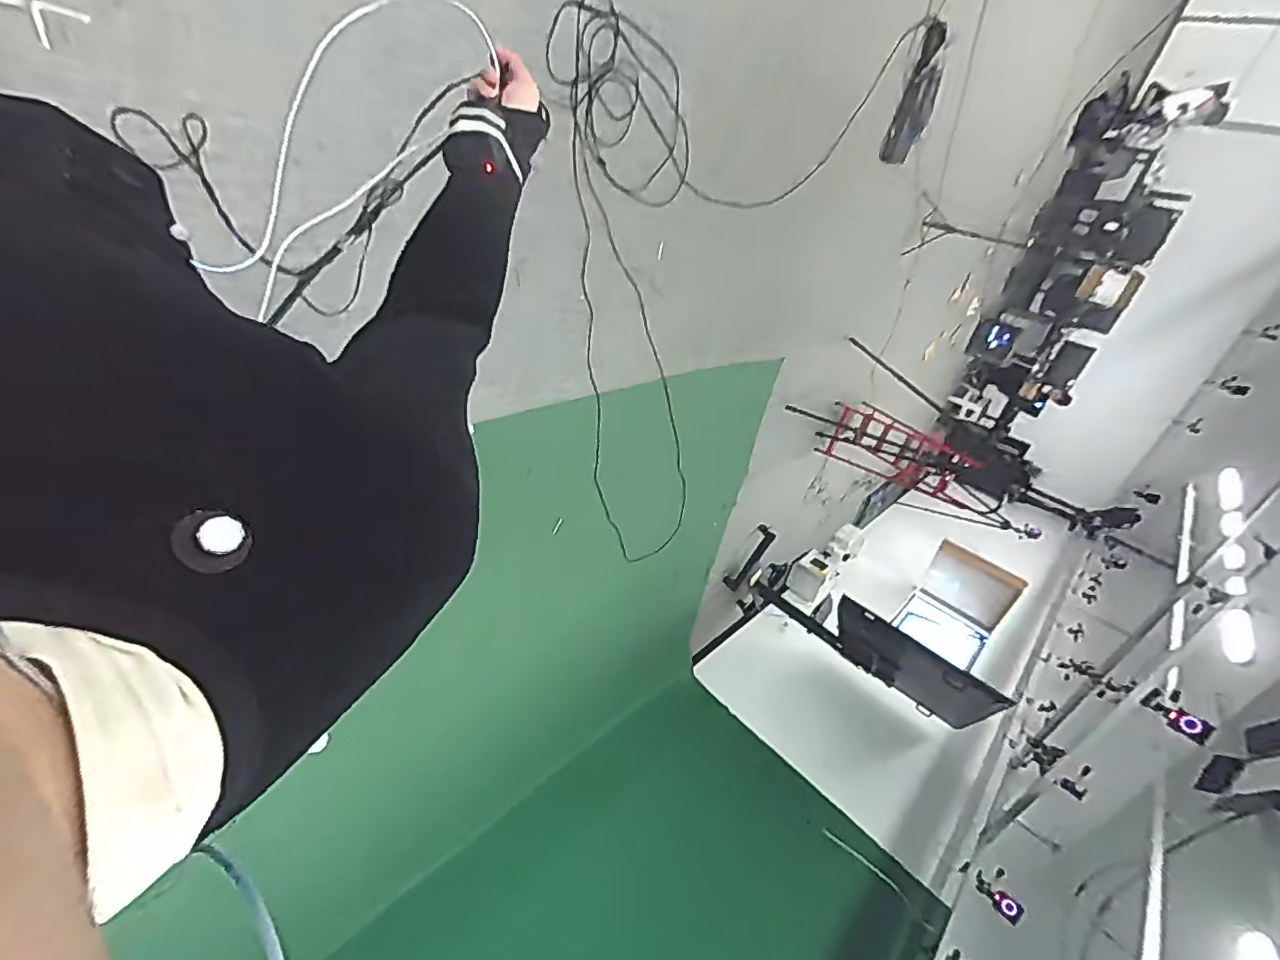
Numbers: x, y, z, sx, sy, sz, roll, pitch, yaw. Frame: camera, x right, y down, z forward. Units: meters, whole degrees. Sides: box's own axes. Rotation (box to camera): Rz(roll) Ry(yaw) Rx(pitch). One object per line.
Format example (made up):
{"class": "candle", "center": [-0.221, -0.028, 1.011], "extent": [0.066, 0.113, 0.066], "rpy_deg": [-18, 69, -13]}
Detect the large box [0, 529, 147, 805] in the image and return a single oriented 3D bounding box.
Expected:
{"class": "large box", "center": [-1.261, 0.372, 1.070], "extent": [0.320, 0.320, 0.408], "rpy_deg": [-18, 133, -44]}
